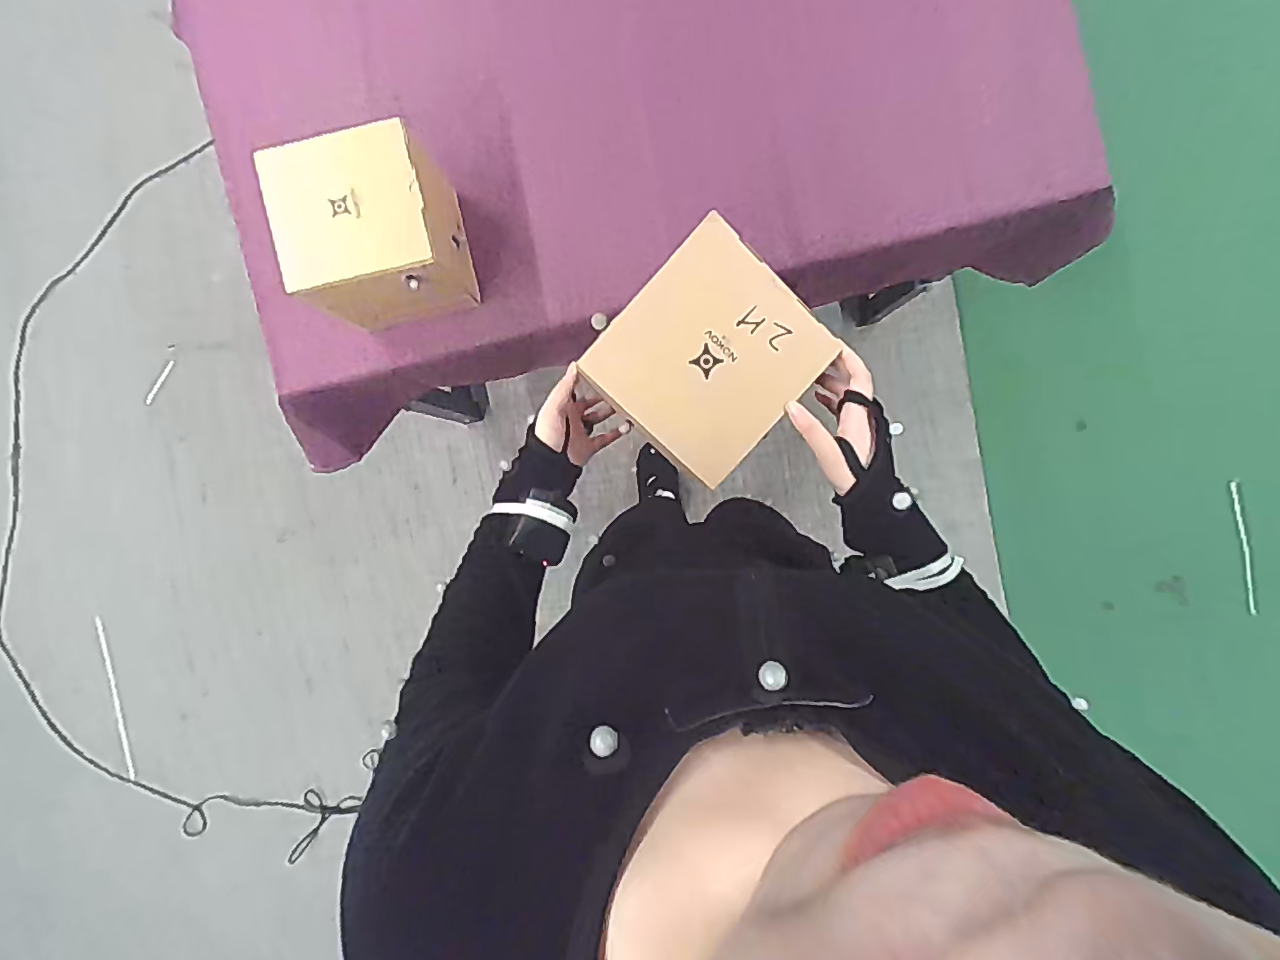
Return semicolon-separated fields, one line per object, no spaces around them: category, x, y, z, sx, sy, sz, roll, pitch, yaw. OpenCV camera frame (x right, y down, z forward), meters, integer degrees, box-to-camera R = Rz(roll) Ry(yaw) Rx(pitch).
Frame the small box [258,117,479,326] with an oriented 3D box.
small box;-0.329;-0.310;0.688;0.179;0.176;0.168;-13;91;0
